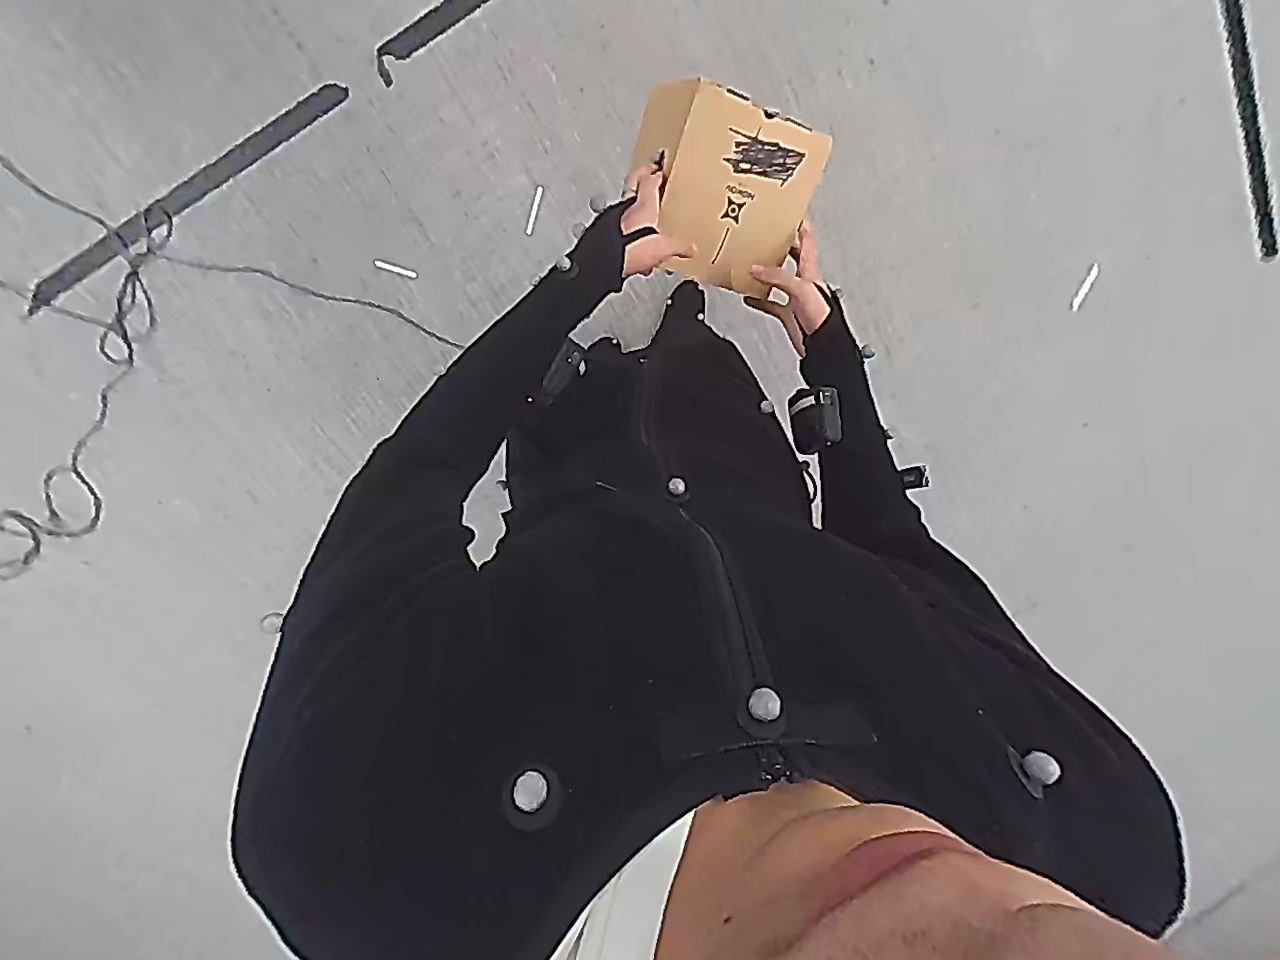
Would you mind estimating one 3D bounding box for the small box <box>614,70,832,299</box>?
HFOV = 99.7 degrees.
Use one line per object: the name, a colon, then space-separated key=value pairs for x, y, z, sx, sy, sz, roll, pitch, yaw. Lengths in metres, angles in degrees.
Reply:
small box: x=0.080 y=-0.338 z=0.631 sx=0.168 sy=0.176 sz=0.179 roll=8 pitch=119 yaw=-22
